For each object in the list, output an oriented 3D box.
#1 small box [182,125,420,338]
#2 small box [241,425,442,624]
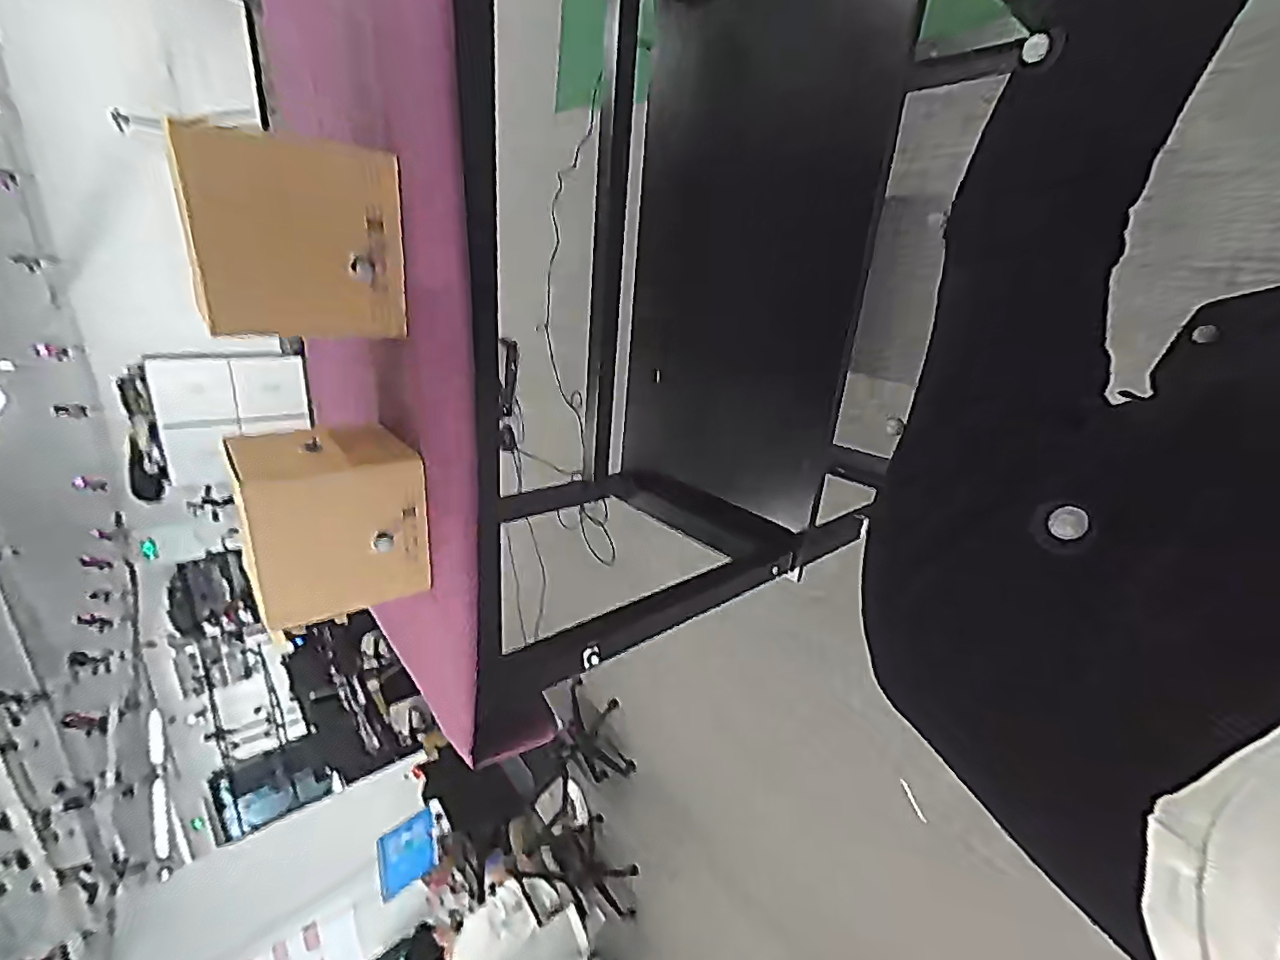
[{"bbox_3d":[-0.338,-0.242,0.550,0.179,0.176,0.168,29,123,43],"label":"small box"},{"bbox_3d":[-0.347,0.036,0.637,0.179,0.176,0.168,25,119,45],"label":"small box"}]
